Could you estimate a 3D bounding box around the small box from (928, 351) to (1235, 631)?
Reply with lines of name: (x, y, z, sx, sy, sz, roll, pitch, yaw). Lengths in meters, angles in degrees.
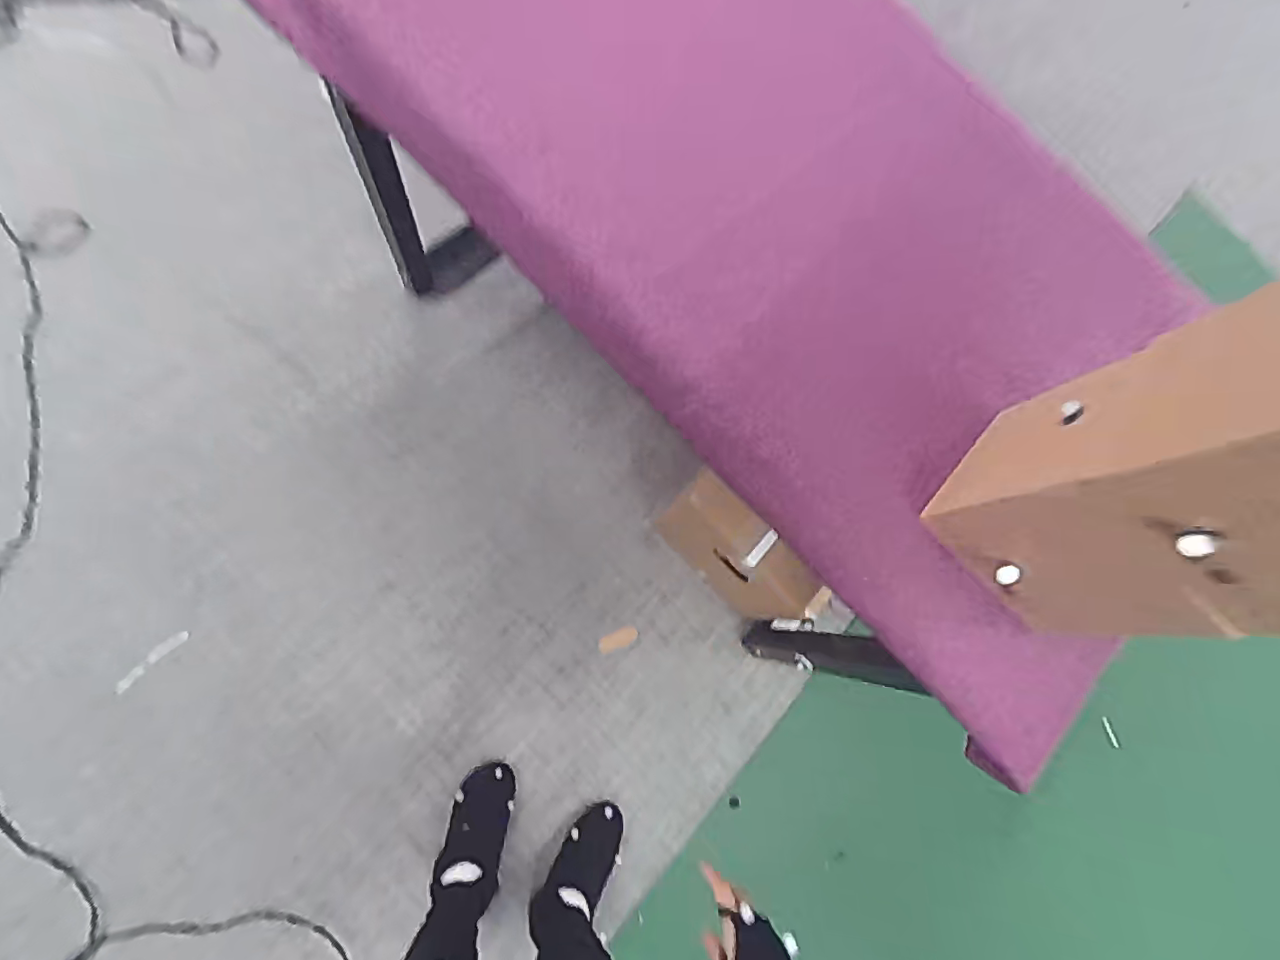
small box: (0.412, 0.017, 0.500, 0.168, 0.176, 0.179, 45, 72, 3)
